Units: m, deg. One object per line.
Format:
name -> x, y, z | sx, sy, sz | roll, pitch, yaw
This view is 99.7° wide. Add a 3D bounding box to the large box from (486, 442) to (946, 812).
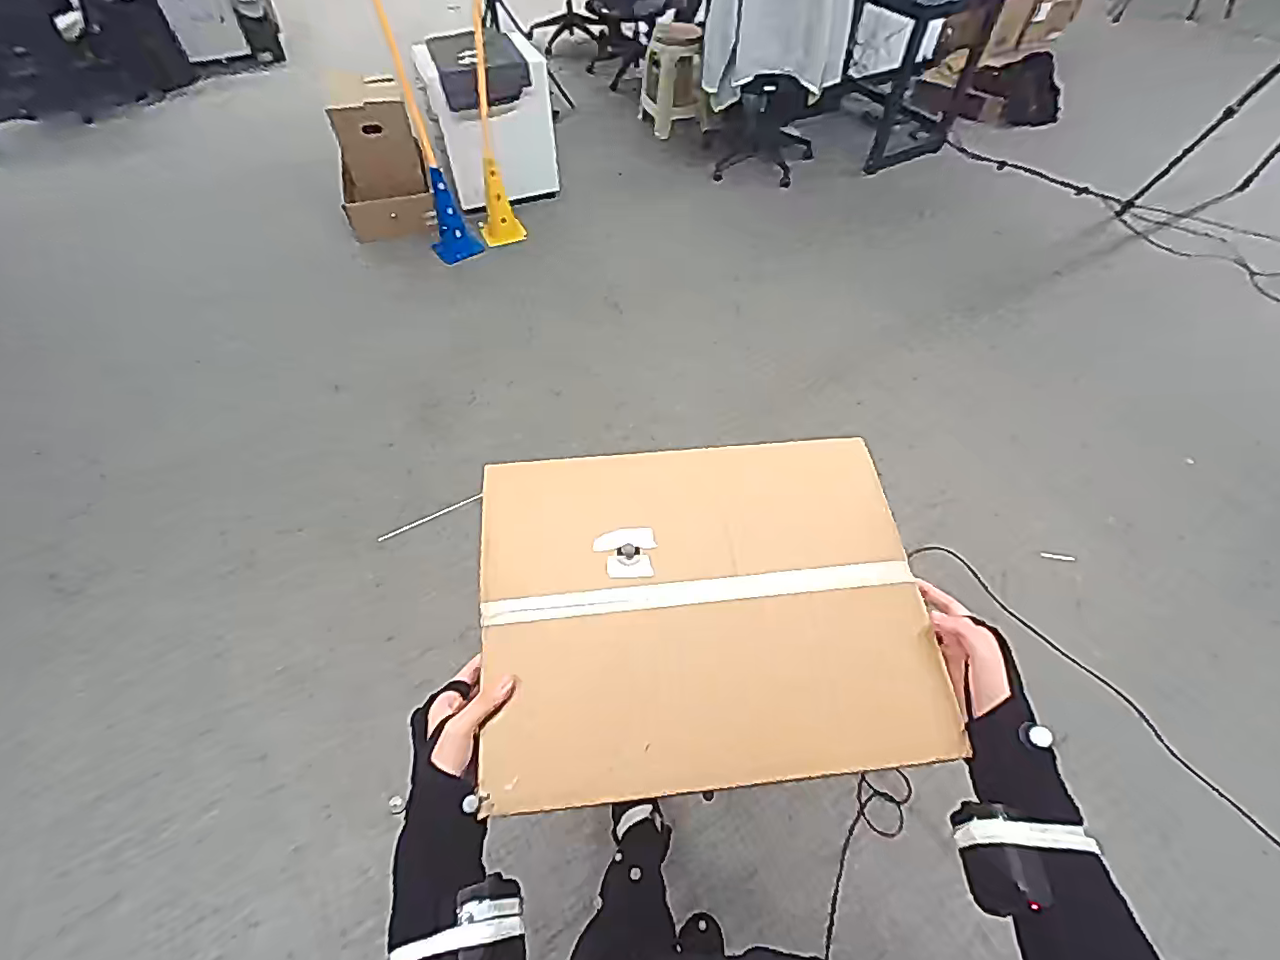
large box -> 0.053, 0.179, 0.651 | 0.408, 0.320, 0.320 | -5, 63, -4
